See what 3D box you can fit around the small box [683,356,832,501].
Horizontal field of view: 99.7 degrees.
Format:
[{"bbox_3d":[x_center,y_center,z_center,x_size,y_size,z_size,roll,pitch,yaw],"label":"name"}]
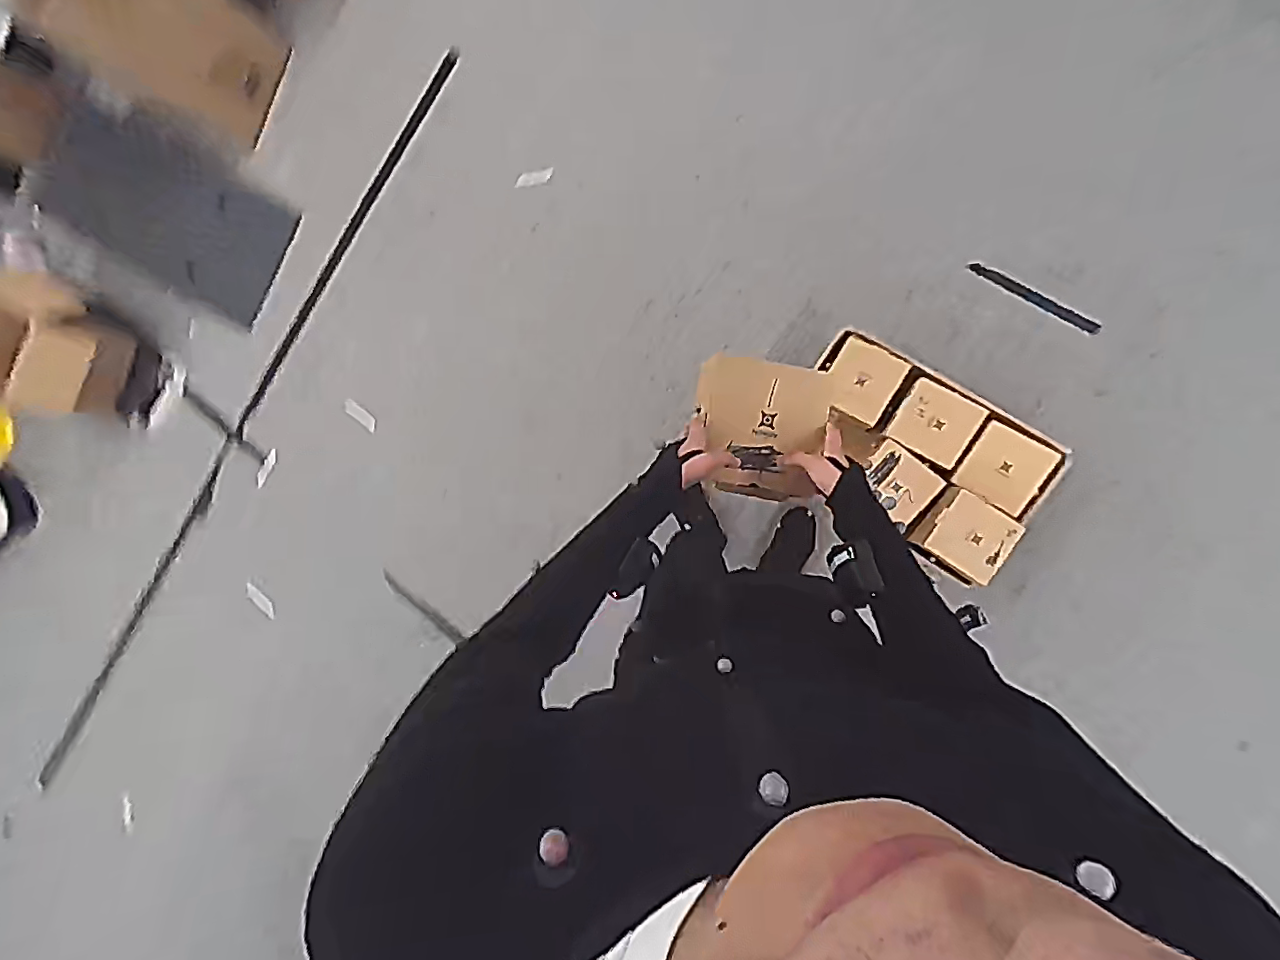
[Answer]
[{"bbox_3d":[0.163,-0.078,0.814,0.168,0.176,0.179,10,96,-3],"label":"small box"}]
